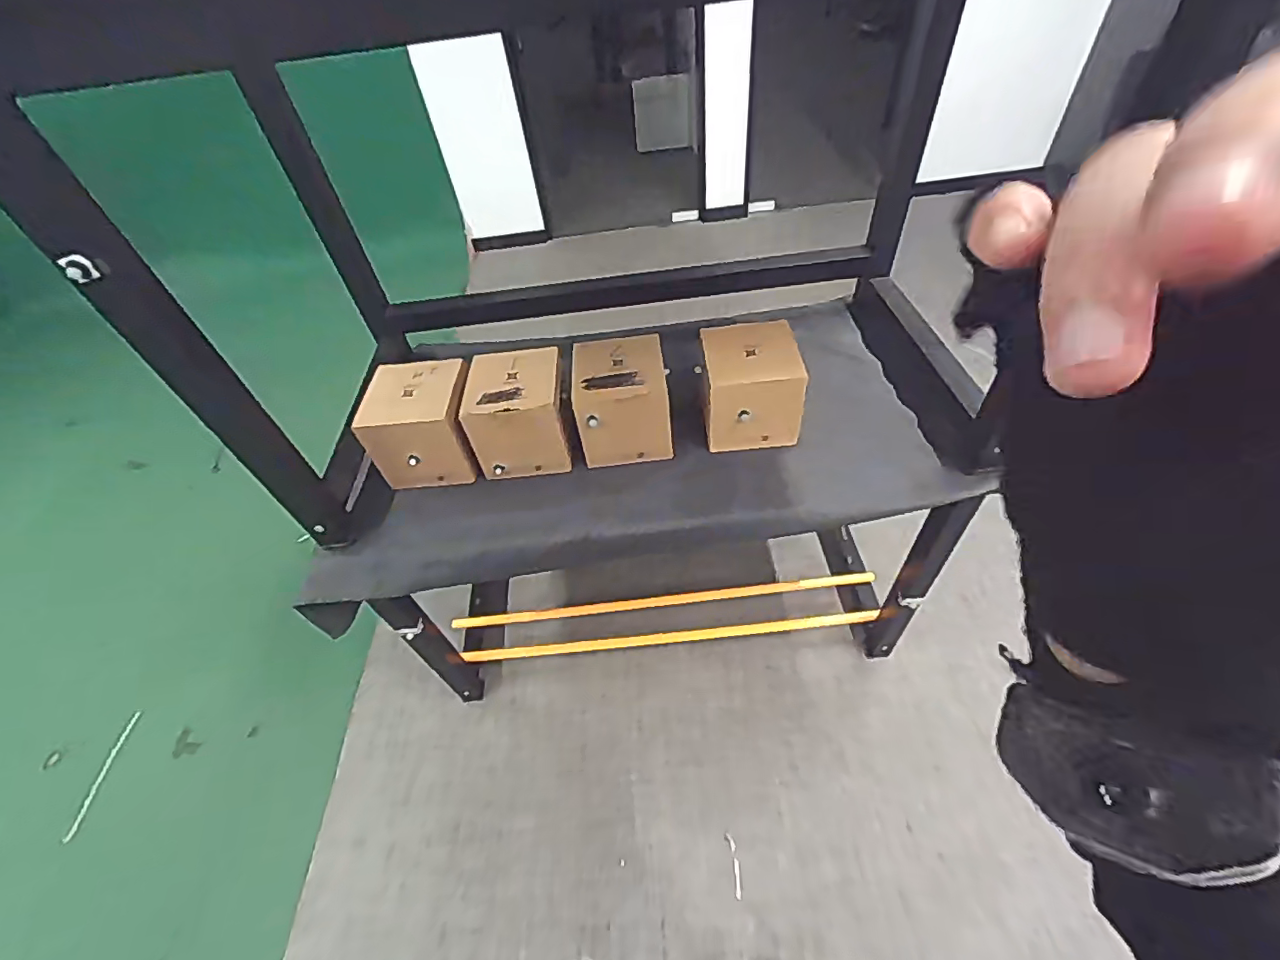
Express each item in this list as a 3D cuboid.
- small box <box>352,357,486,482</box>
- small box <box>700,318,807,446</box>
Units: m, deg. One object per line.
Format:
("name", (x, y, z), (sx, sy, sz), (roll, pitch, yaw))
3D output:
("small box", (-0.404, -0.108, 1.024), (0.168, 0.176, 0.179), (-4, 48, 2))
("small box", (0.204, -0.176, 1.012), (0.168, 0.176, 0.179), (-5, 48, 3))
